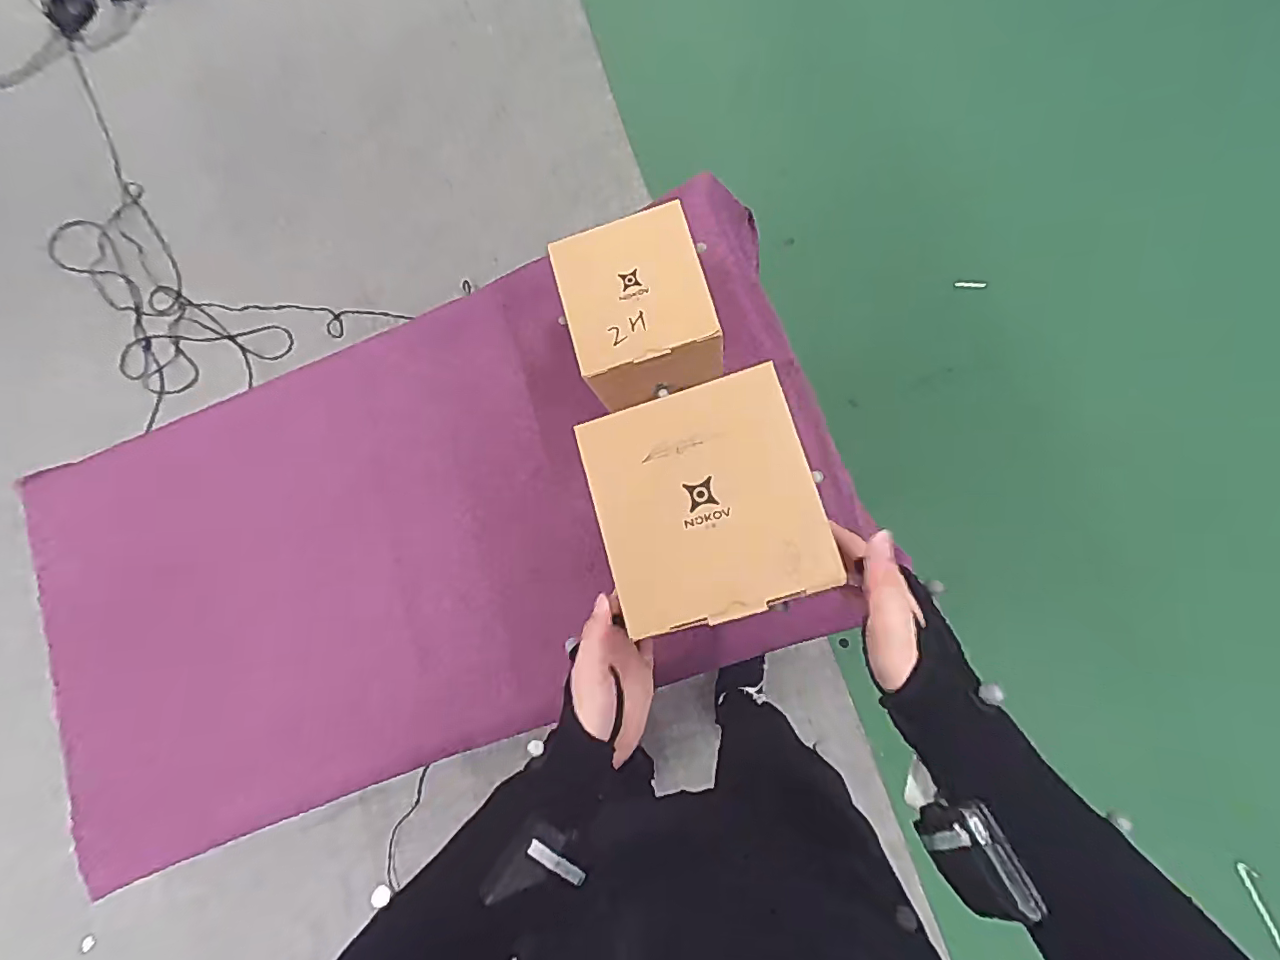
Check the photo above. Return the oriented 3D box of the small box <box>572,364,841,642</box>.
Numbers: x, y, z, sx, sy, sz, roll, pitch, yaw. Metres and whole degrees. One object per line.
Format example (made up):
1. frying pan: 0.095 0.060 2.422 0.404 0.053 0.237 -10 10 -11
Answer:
1. small box: 0.058 0.027 0.479 0.168 0.176 0.179 -17 79 7

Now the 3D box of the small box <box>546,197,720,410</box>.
1. small box: 0.000 -0.210 0.689 0.168 0.176 0.179 -17 81 7
